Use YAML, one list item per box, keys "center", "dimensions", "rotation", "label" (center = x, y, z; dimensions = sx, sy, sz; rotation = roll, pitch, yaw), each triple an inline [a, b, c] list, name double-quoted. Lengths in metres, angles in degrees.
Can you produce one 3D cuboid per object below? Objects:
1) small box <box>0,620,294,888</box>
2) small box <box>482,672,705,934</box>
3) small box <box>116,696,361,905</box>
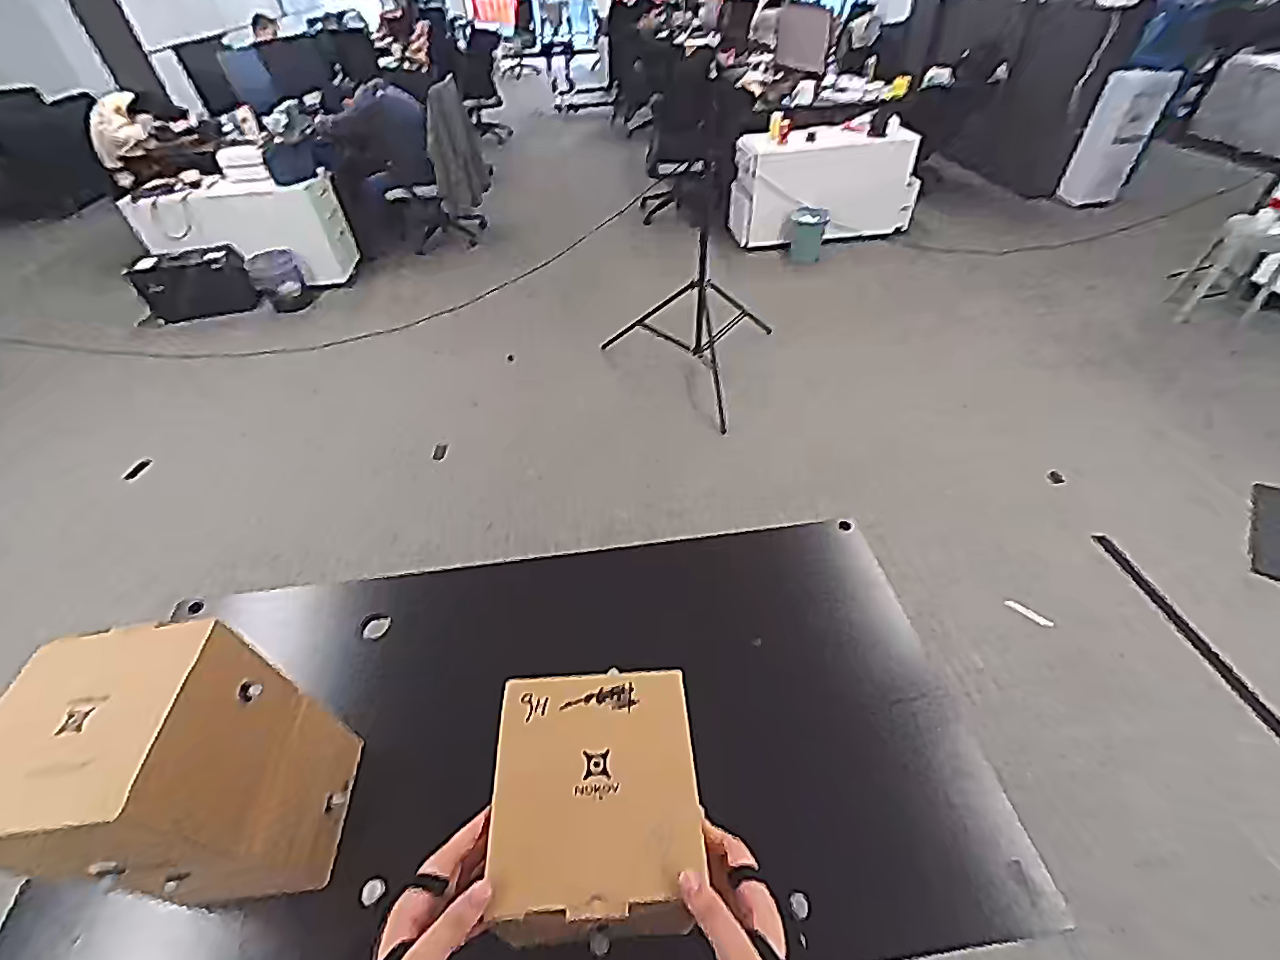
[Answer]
- center: [-0.476, 0.264, 0.524]
  dimensions: [0.168, 0.176, 0.179]
  rotation: [-8, 45, -3]
  label: "small box"
- center: [-0.038, 0.302, 0.503]
  dimensions: [0.168, 0.176, 0.179]
  rotation: [-2, 45, -4]
  label: "small box"
- center: [-0.467, 0.379, 0.638]
  dimensions: [0.179, 0.176, 0.168]
  rotation: [-5, 44, -4]
  label: "small box"
